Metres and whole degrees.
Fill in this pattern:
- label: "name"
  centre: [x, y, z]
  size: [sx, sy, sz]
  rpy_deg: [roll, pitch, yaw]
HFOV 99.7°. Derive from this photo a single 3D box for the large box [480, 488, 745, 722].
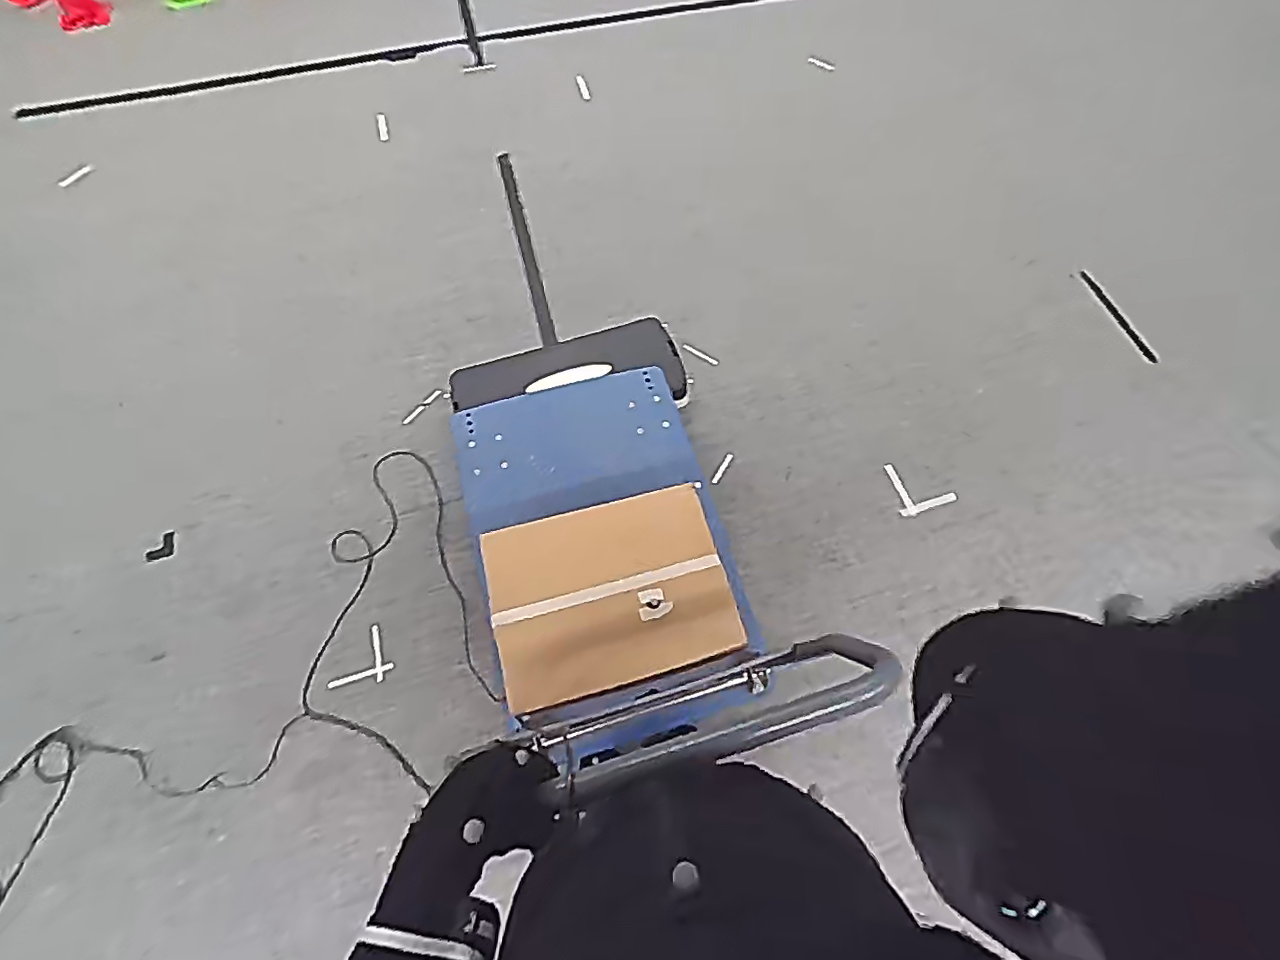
- label: "large box"
  centre: [-0.059, 0.257, 1.065]
  size: [0.408, 0.320, 0.320]
  rpy_deg: [-14, 68, -8]
